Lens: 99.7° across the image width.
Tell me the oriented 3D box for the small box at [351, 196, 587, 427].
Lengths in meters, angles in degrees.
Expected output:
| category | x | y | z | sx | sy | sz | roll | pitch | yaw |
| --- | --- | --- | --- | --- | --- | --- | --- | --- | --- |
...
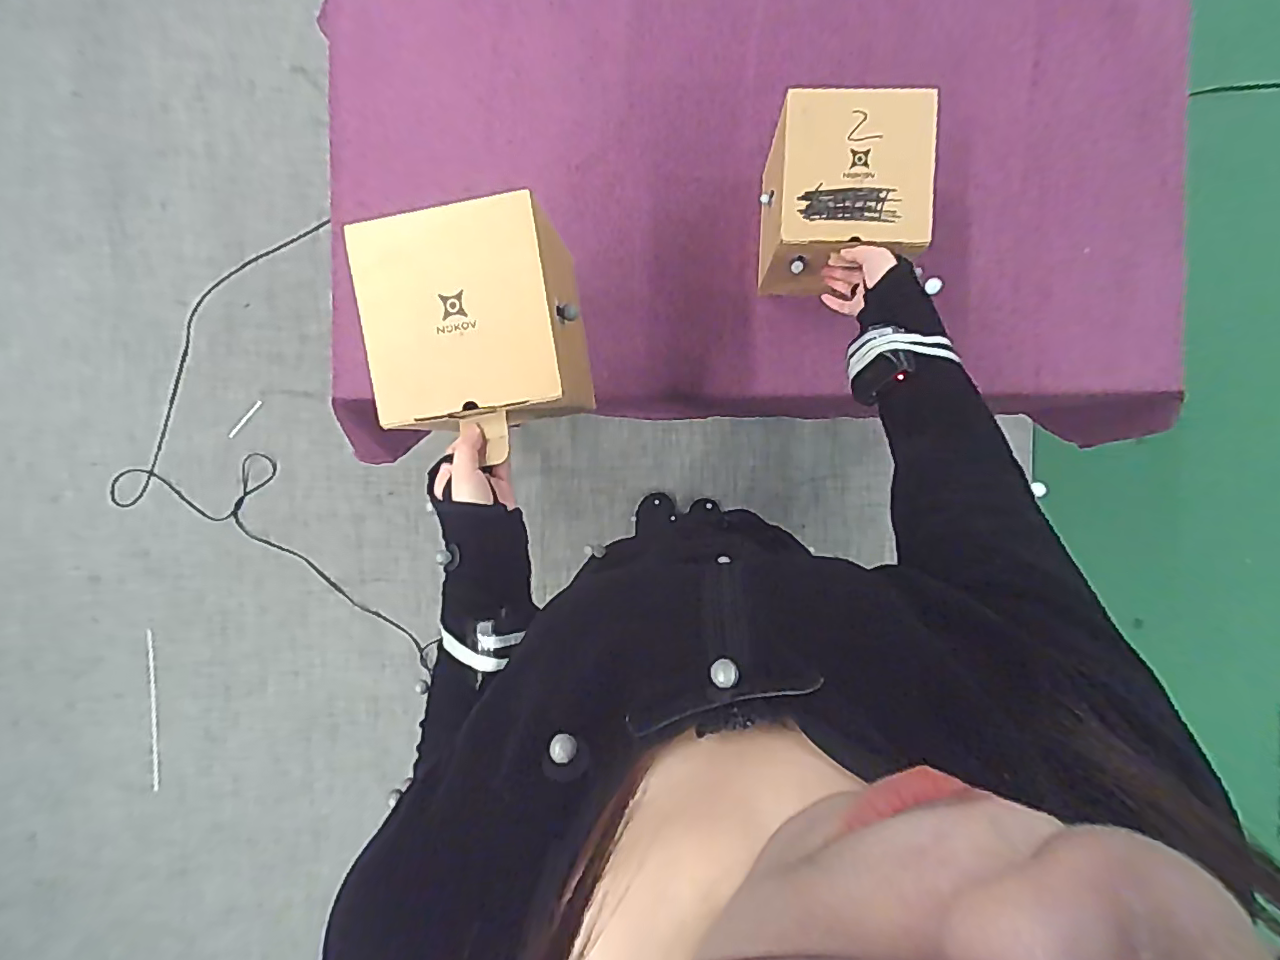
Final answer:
| category | x | y | z | sx | sy | sz | roll | pitch | yaw |
| --- | --- | --- | --- | --- | --- | --- | --- | --- | --- |
| small box | -0.157 | -0.153 | 0.553 | 0.168 | 0.176 | 0.179 | -9 | 94 | 5 |
